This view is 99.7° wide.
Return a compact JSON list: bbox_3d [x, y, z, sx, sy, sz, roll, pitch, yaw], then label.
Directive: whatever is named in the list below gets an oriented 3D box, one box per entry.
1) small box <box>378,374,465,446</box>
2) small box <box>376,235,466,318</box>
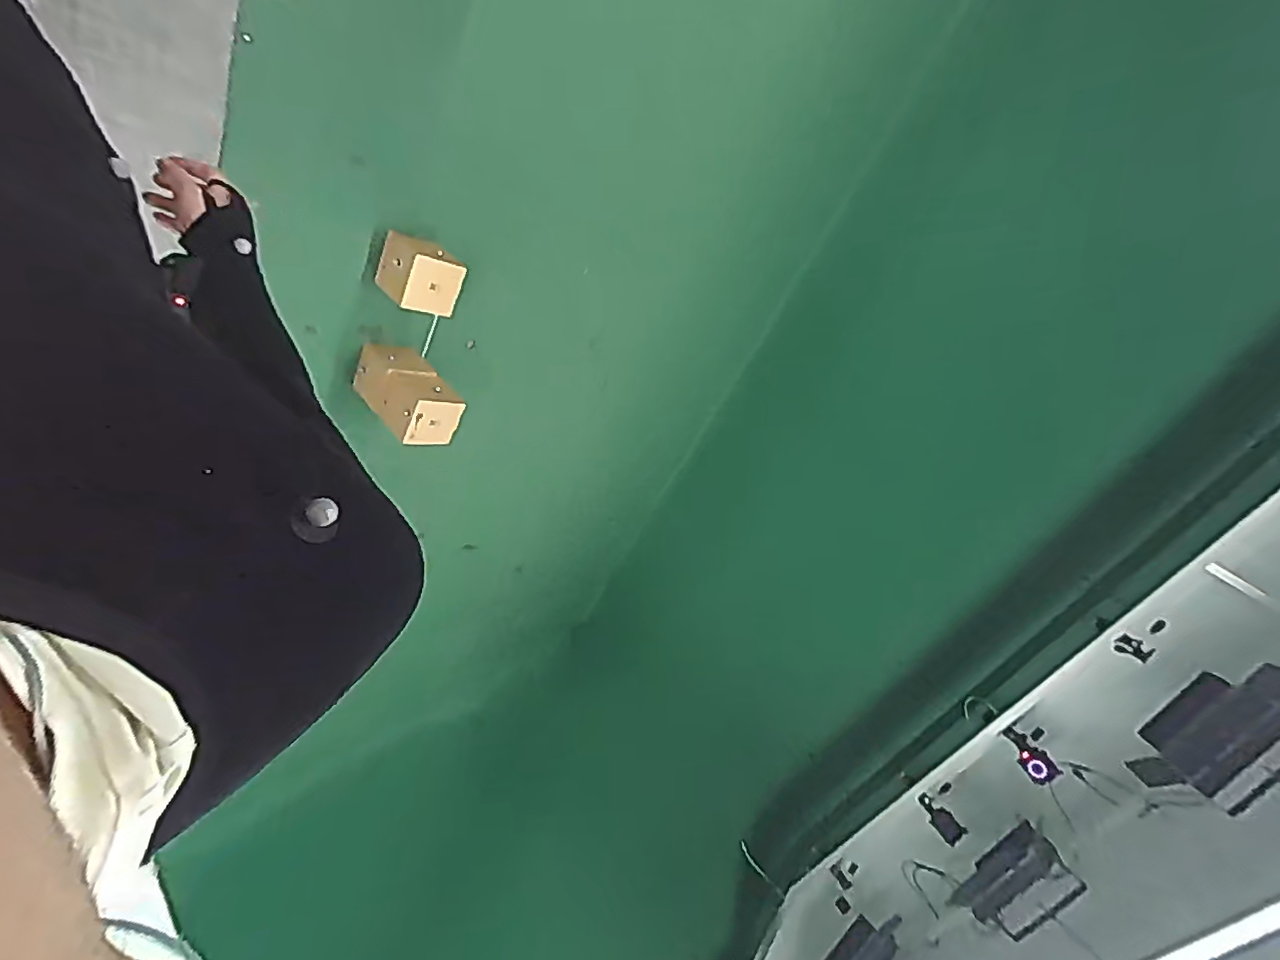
[{"bbox_3d":[-0.711,-0.227,1.756,0.179,0.176,0.168,-5,132,-57],"label":"small box"},{"bbox_3d":[-0.670,-0.620,1.643,0.179,0.176,0.168,-9,135,-55],"label":"small box"}]
